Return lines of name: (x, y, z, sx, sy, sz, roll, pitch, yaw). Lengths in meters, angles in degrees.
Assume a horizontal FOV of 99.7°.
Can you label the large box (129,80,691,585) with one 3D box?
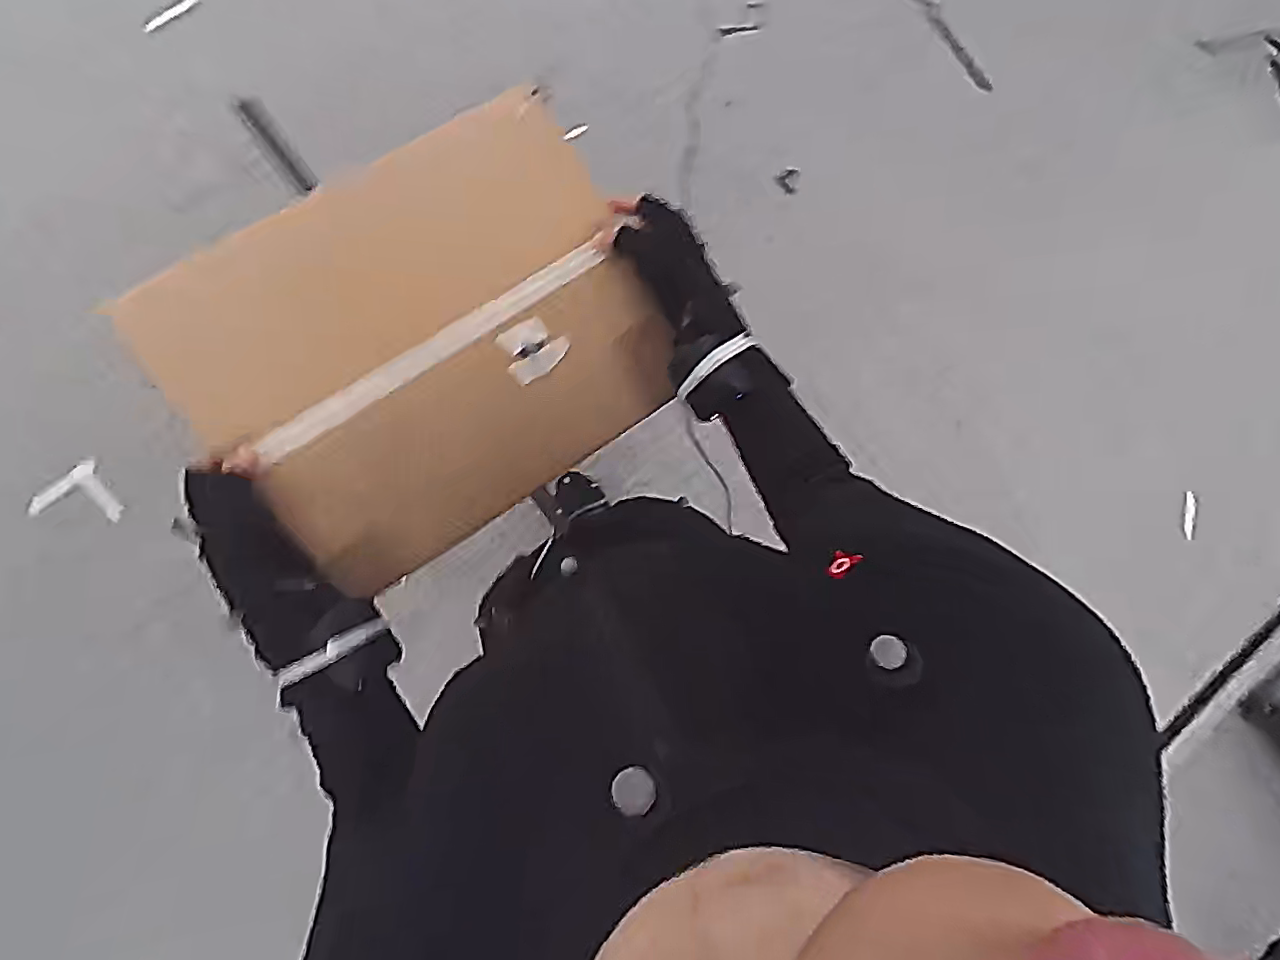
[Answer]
large box: (-0.220, -0.146, 0.645, 0.408, 0.320, 0.320, -35, 102, -9)
